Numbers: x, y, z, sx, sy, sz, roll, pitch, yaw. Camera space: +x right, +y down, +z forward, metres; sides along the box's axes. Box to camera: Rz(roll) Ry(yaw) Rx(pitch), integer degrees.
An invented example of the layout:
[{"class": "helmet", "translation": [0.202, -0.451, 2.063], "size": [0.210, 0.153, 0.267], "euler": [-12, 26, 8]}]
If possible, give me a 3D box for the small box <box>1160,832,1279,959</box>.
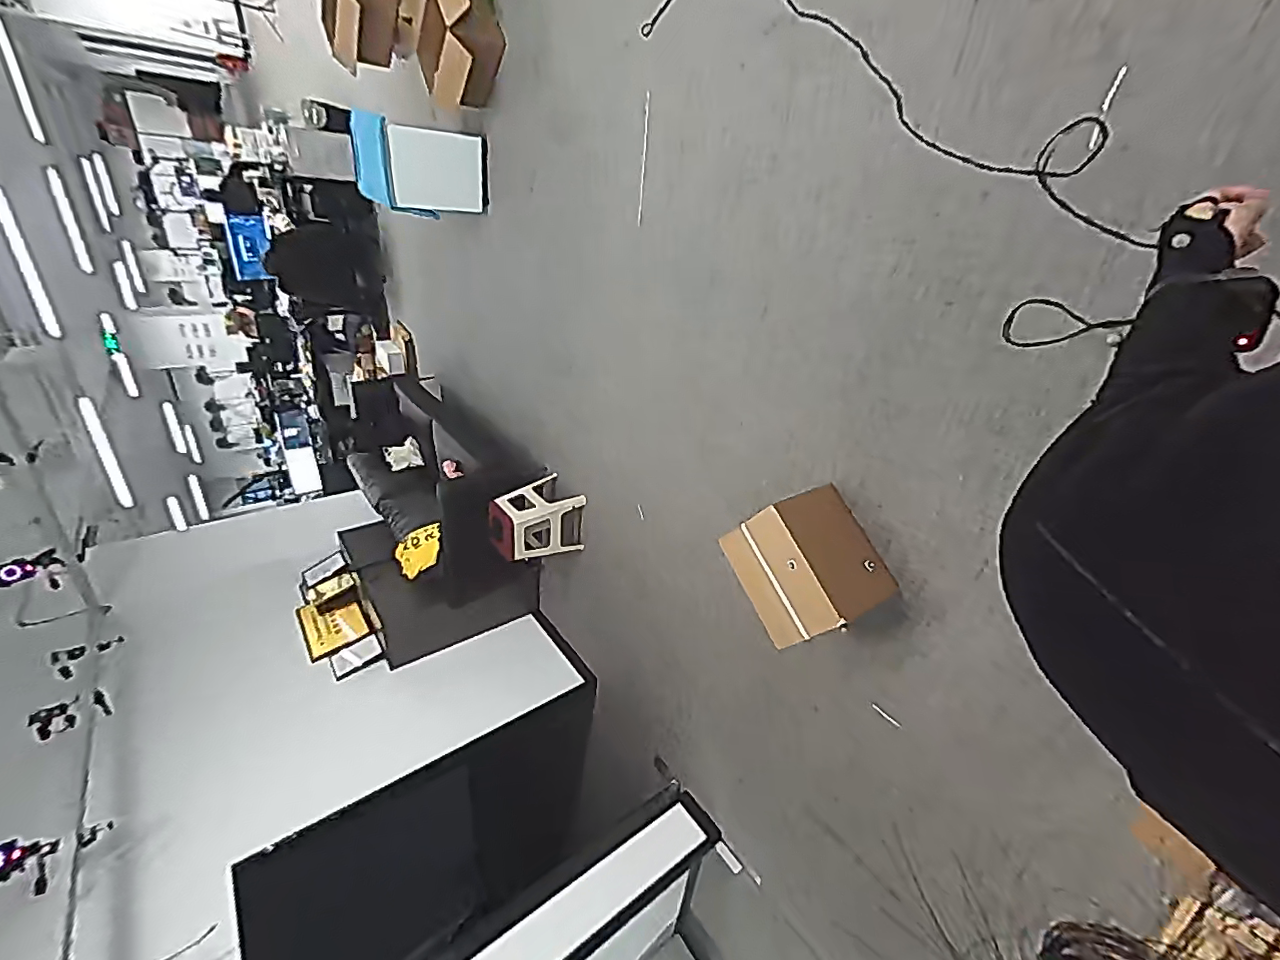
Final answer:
[{"class": "small box", "translation": [0.889, 0.655, 0.765], "size": [0.168, 0.176, 0.179], "euler": [26, 123, 48]}]
